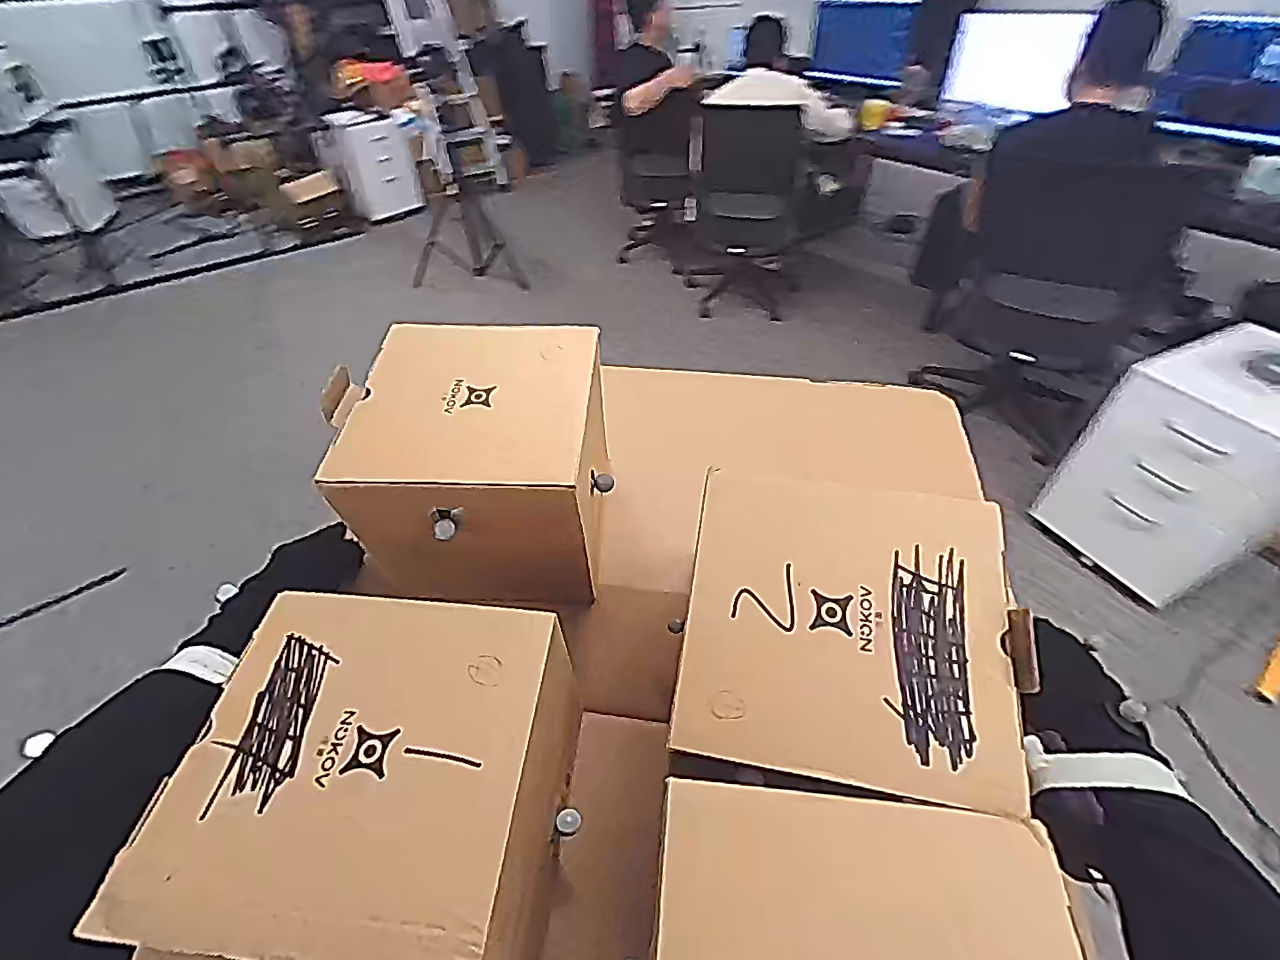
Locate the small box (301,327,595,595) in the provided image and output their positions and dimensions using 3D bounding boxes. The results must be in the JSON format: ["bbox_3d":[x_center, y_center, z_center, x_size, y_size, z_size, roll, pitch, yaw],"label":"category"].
[{"bbox_3d":[-0.135,-0.011,0.466,0.179,0.176,0.168,0,52,2],"label":"small box"}]
